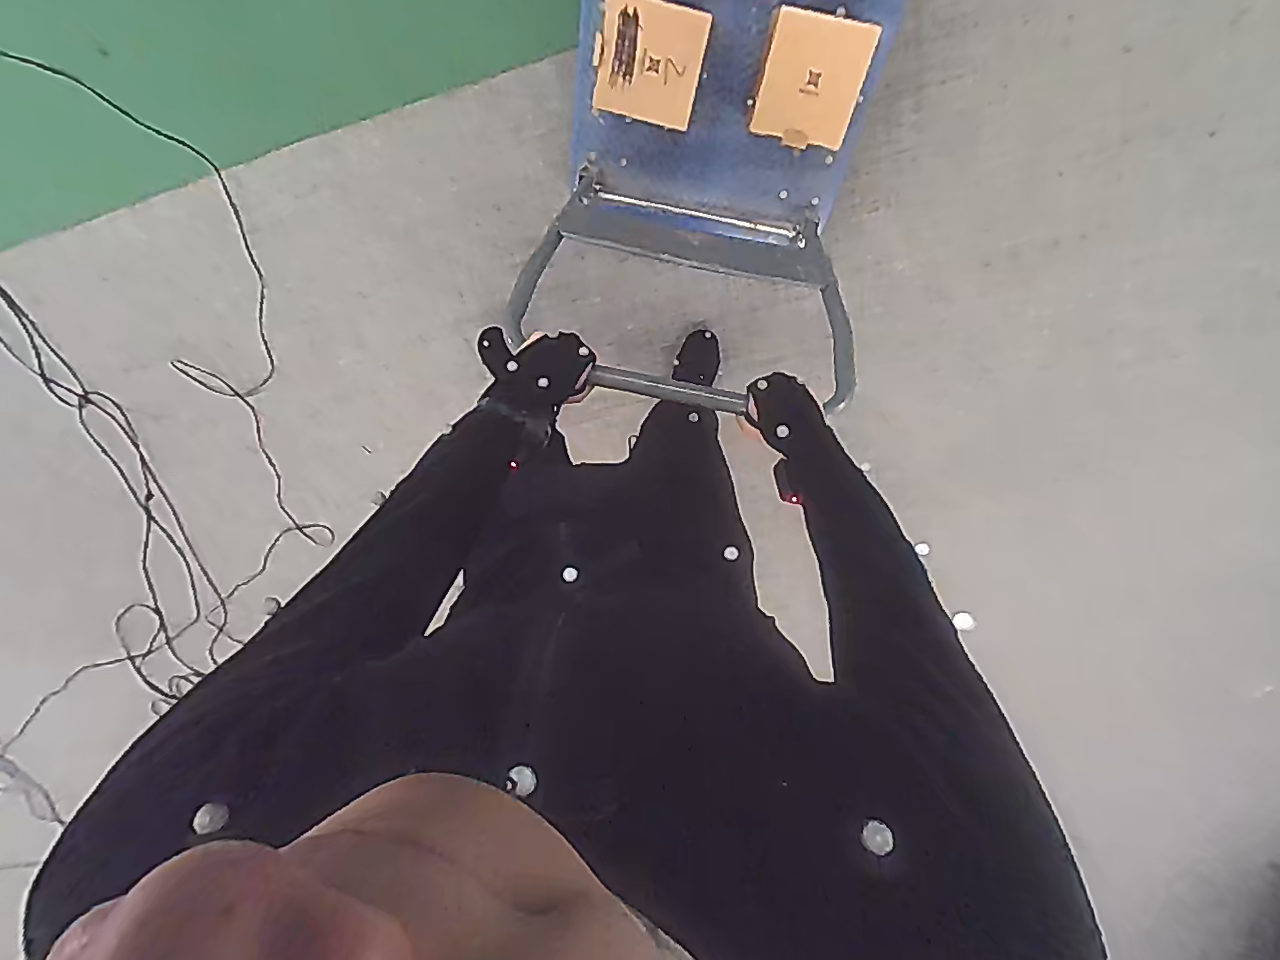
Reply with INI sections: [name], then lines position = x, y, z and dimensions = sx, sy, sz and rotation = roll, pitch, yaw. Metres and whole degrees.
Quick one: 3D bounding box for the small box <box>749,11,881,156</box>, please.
[small box]
position = 0.299, -0.713, 0.973
dimensions = 0.168, 0.176, 0.179
rotation = 12, 130, -1
